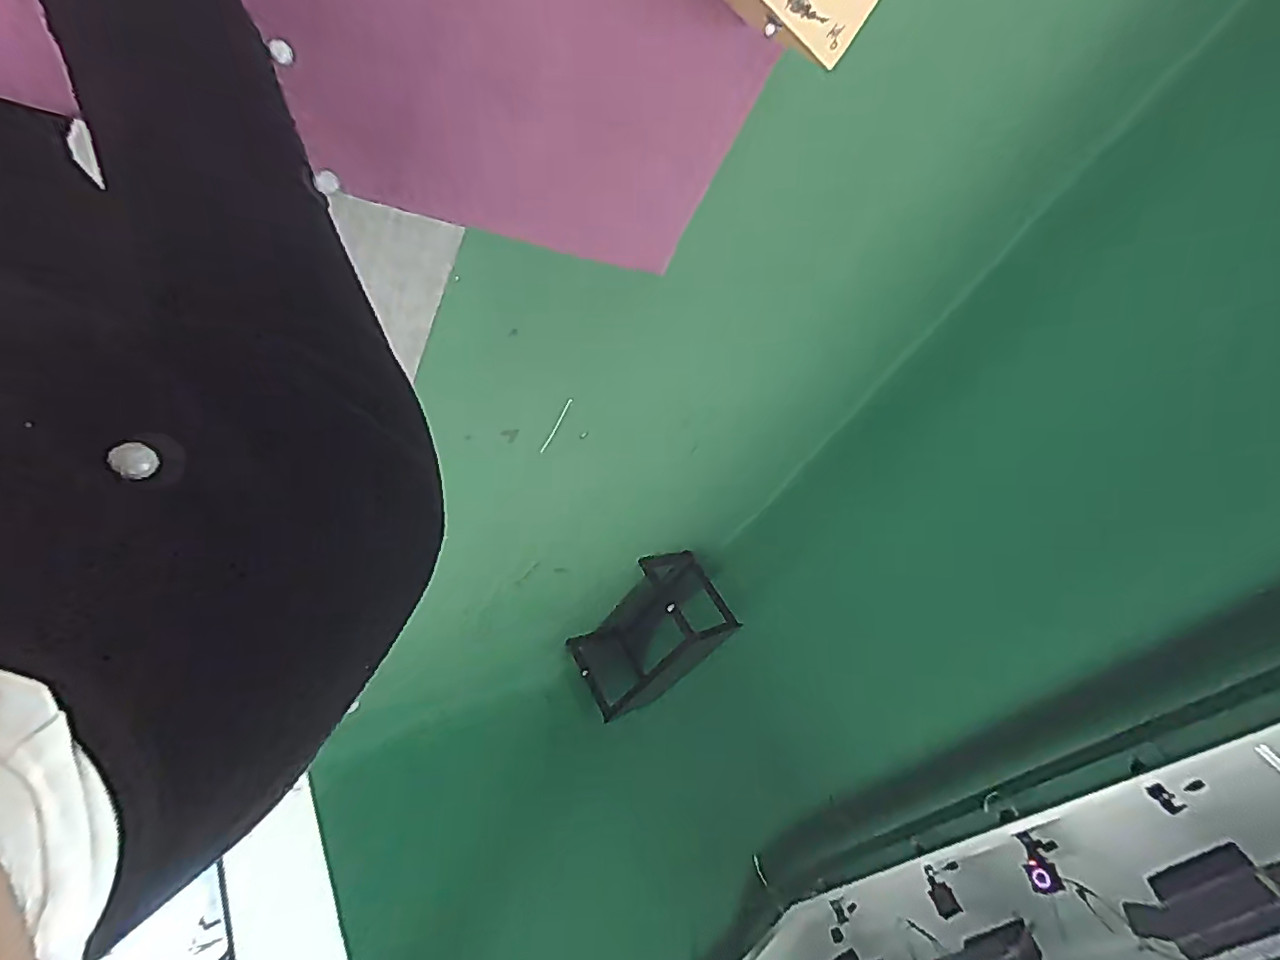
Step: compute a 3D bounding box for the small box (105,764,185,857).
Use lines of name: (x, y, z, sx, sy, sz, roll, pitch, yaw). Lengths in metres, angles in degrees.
small box: (-1.549, 1.025, 1.688, 0.168, 0.176, 0.179, 3, 136, -49)

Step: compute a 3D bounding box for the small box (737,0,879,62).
small box: (0.176, -0.603, 0.567, 0.168, 0.176, 0.179, -2, 139, -43)

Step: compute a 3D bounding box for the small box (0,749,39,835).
small box: (-1.844, 0.903, 1.543, 0.168, 0.176, 0.179, 1, 136, -47)
